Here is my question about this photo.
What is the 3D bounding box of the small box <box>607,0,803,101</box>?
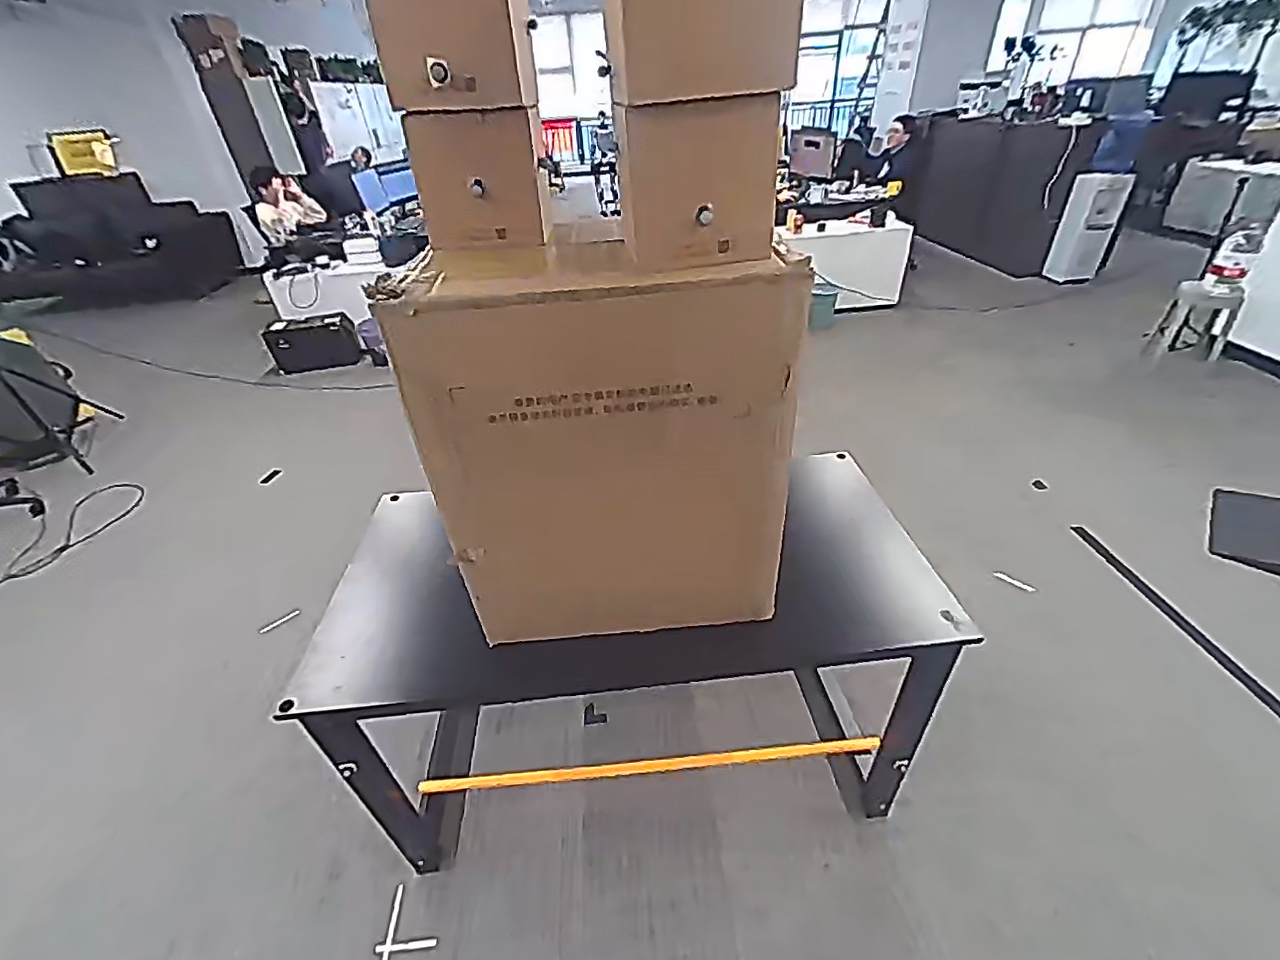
[{"bbox_3d":[0.058,-0.493,0.548,0.179,0.176,0.168,-8,37,-5],"label":"small box"}]

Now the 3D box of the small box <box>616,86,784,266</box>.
[{"bbox_3d":[0.064,-0.374,0.664,0.168,0.176,0.179,-8,37,-3],"label":"small box"}]

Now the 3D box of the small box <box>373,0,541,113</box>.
[{"bbox_3d":[-0.226,-0.571,0.689,0.168,0.176,0.179,-4,36,0],"label":"small box"}]

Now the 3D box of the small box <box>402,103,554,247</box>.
[{"bbox_3d":[-0.222,-0.447,0.796,0.168,0.176,0.179,-4,36,-2],"label":"small box"}]
